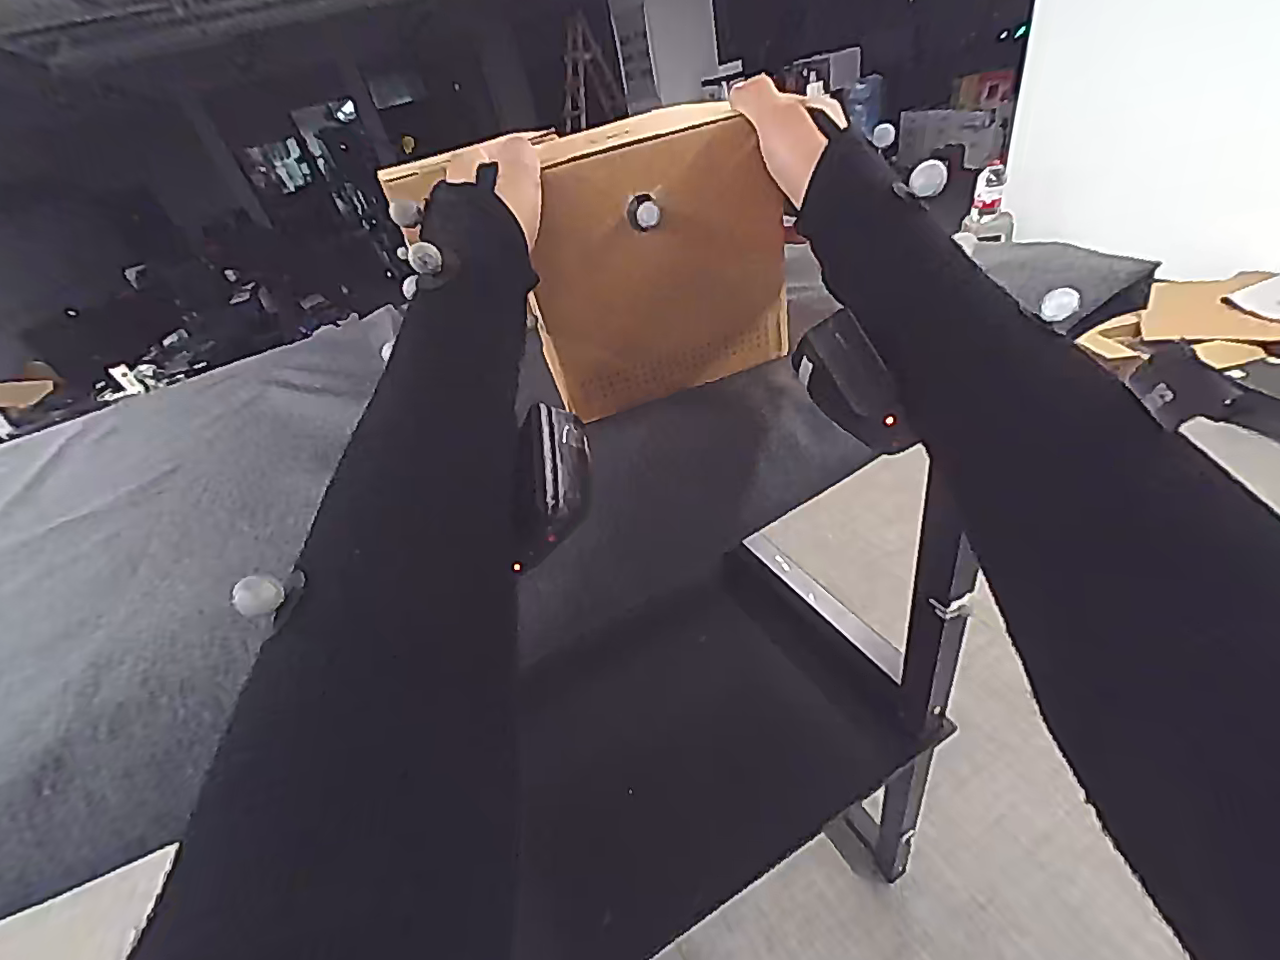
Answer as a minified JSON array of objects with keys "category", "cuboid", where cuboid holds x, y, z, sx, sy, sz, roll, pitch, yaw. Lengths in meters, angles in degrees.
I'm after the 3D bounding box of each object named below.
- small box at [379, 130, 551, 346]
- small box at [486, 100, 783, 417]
[{"category":"small box","cuboid":[-0.166,-0.266,0.597,0.168,0.176,0.179,-24,36,-12]},{"category":"small box","cuboid":[-0.003,-0.175,0.422,0.179,0.176,0.168,-20,36,-6]}]
